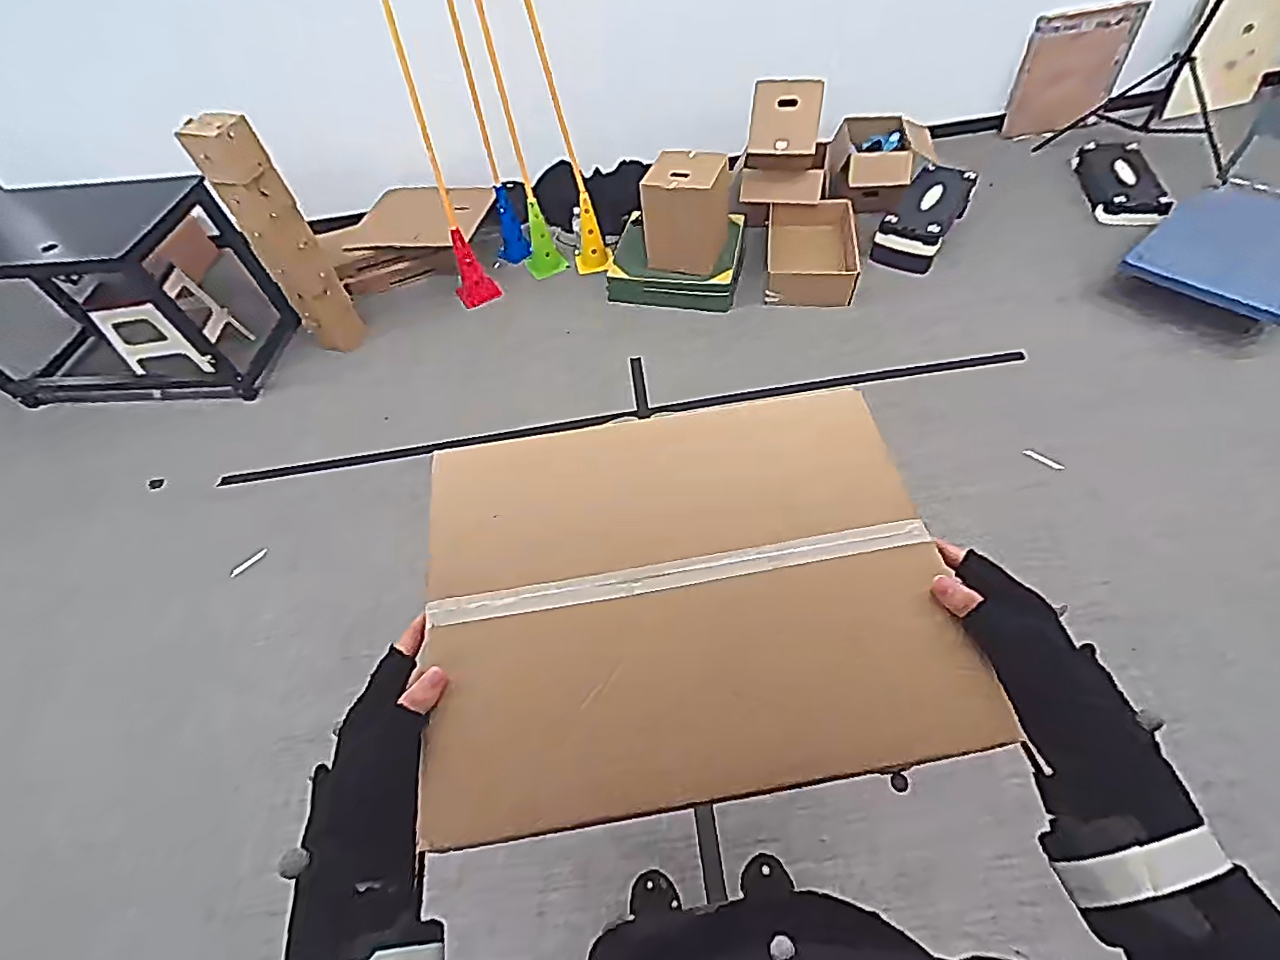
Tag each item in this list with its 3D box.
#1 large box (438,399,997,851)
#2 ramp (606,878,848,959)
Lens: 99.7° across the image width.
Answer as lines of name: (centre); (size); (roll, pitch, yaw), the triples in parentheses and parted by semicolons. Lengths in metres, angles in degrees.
large box: (0.043, 0.157, 0.573); (0.408, 0.320, 0.320); (-9, 59, -2)
ramp: (0.236, 1.337, 0.950); (0.509, 0.206, 0.991); (-9, 55, -2)
